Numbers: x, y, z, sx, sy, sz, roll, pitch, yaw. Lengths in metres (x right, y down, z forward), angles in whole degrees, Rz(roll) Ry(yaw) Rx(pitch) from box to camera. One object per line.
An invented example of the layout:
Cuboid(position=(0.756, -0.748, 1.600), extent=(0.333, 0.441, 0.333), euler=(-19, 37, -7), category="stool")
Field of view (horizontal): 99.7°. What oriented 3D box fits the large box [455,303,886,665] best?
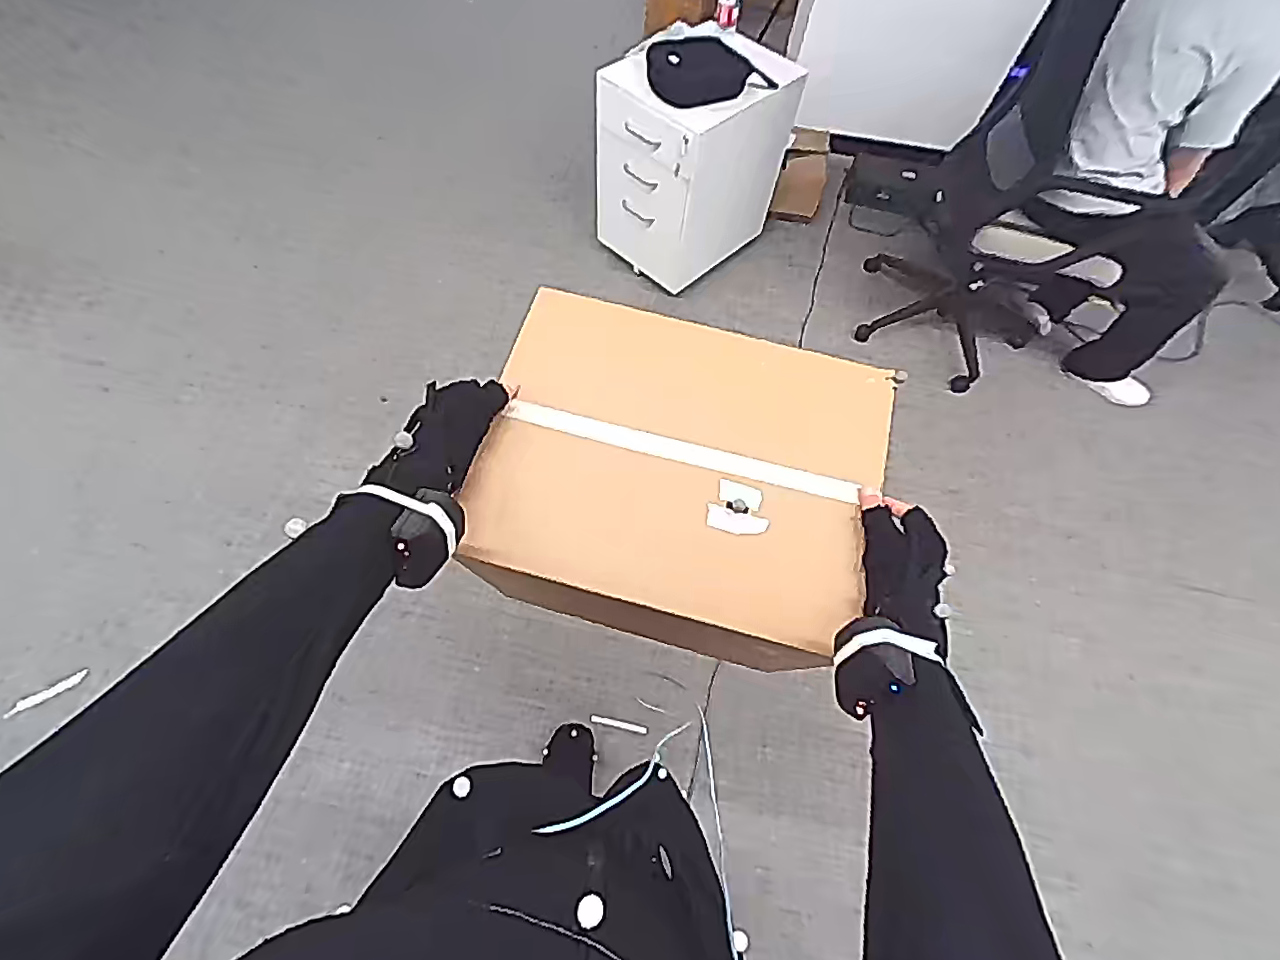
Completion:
Cuboid(position=(0.040, 0.029, 0.702), extent=(0.408, 0.320, 0.320), euler=(15, 70, 4), category="large box")
